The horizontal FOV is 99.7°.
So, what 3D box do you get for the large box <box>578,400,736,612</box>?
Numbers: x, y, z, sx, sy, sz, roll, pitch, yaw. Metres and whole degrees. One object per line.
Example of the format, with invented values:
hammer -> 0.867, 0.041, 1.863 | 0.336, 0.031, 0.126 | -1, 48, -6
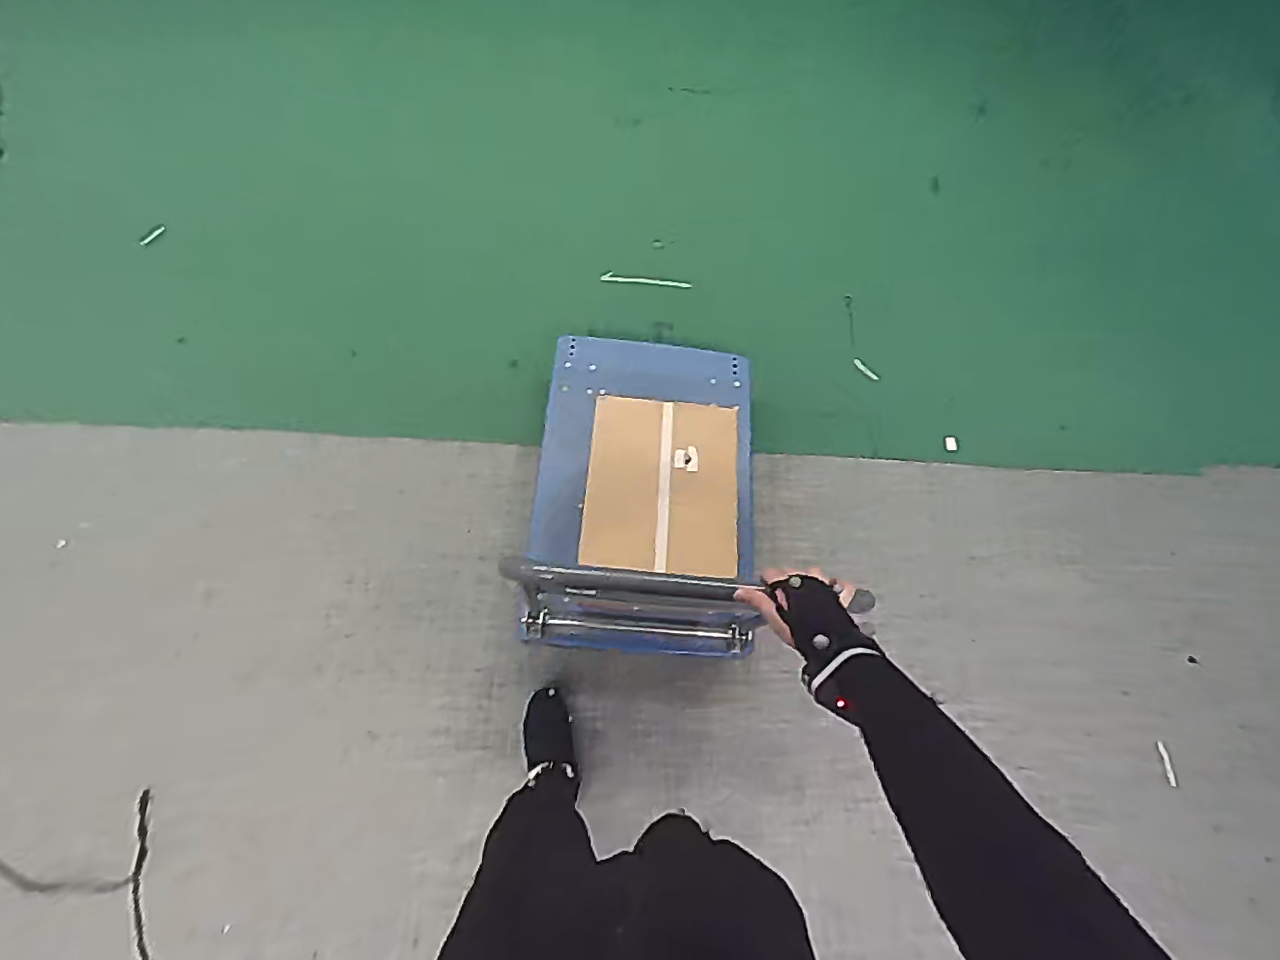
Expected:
large box -> 0.029, 0.075, 1.251 | 0.320, 0.320, 0.408 | 5, 67, -4
